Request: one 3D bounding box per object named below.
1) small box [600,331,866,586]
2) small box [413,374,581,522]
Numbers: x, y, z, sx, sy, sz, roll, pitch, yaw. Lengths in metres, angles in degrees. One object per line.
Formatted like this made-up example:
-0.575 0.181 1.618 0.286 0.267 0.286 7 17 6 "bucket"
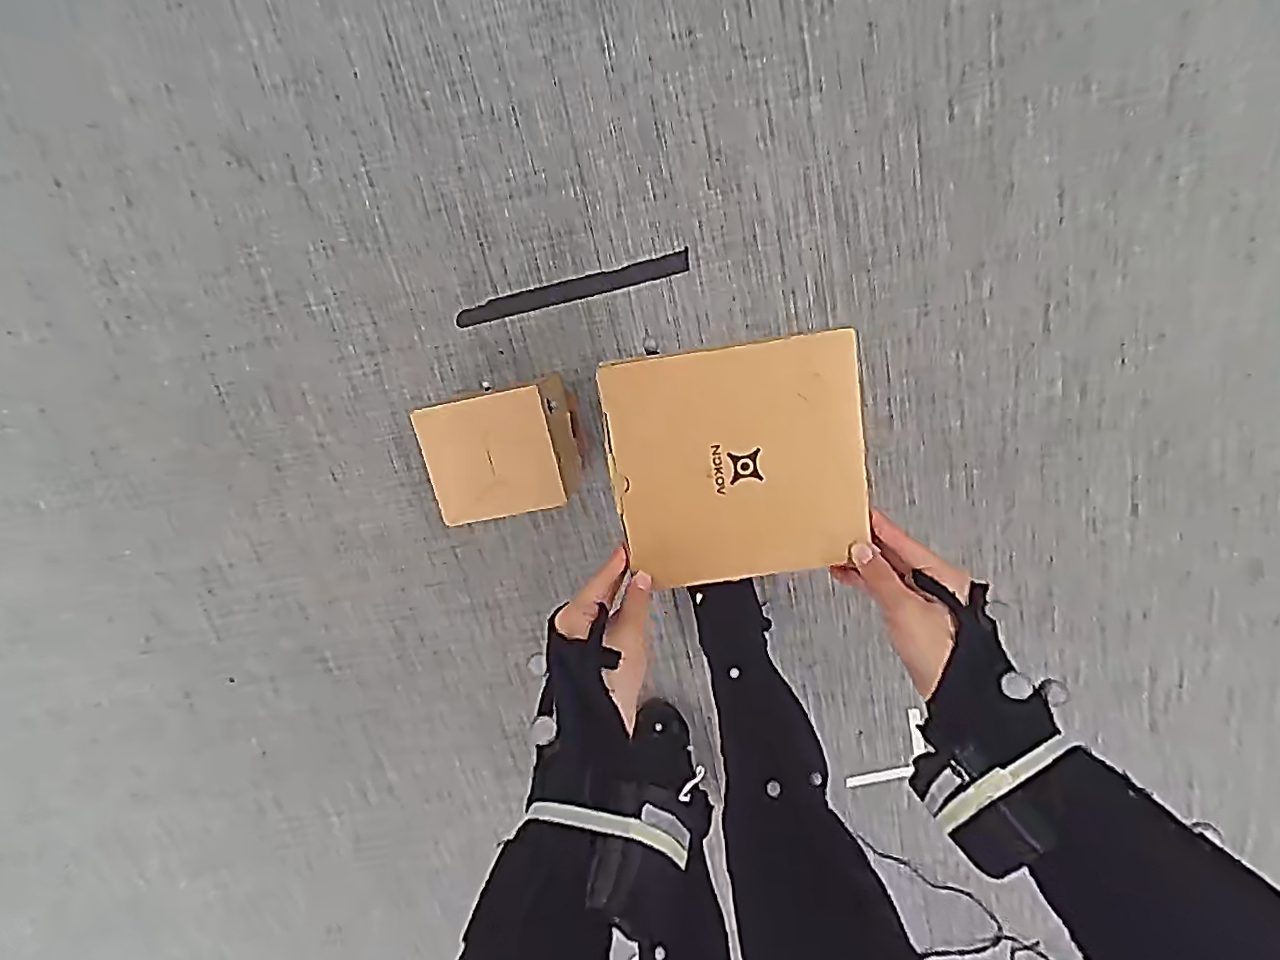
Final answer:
0.069 -0.029 0.457 0.179 0.176 0.168 -8 102 3 "small box"
-0.197 -0.050 0.792 0.179 0.176 0.168 -11 105 4 "small box"
